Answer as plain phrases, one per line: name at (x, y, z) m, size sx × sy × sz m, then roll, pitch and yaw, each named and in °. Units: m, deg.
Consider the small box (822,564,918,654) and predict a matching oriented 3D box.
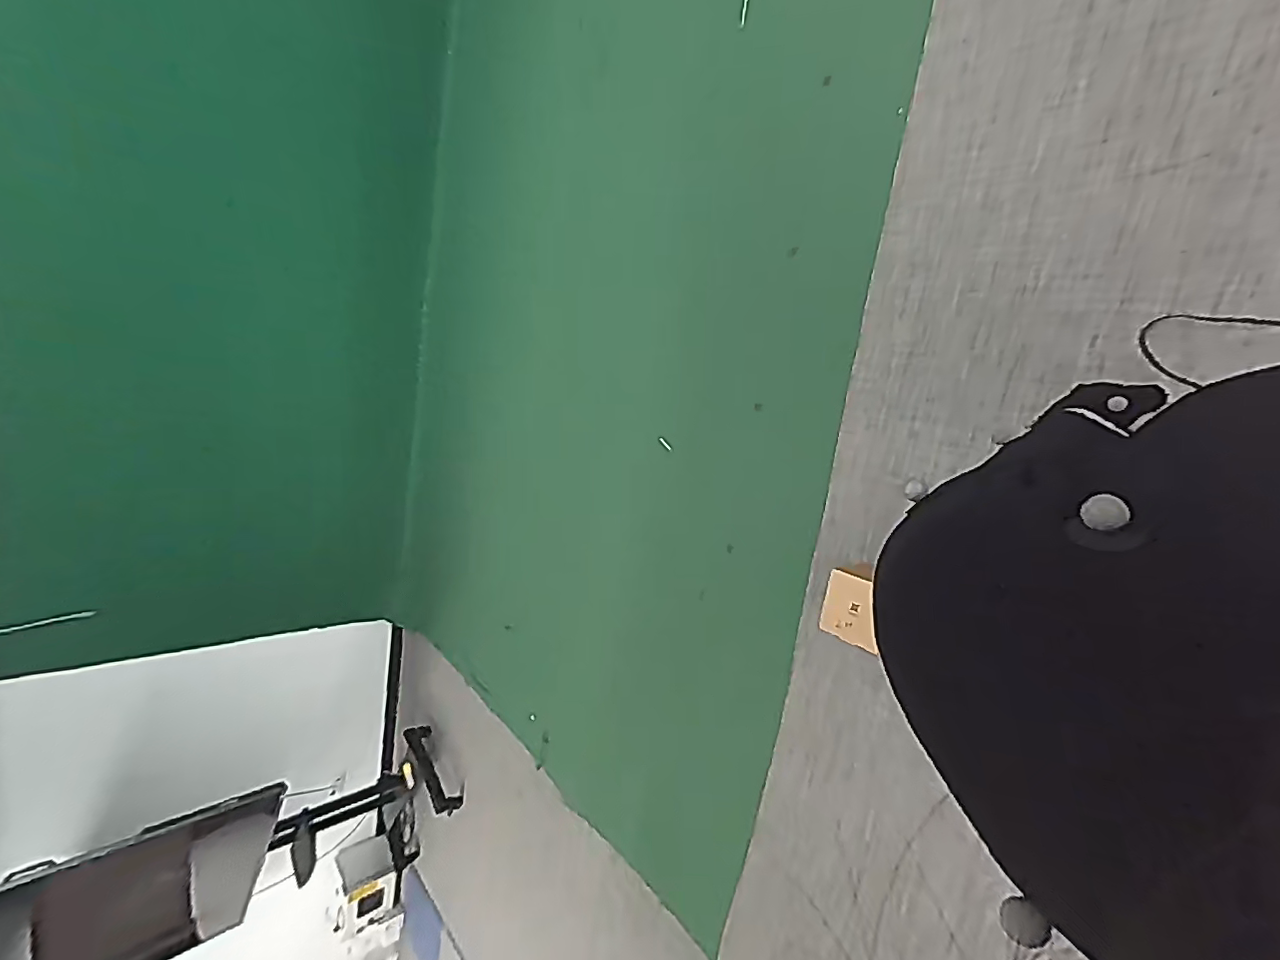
small box at (0.615, 0.332, 1.440) m, size 0.168 × 0.176 × 0.179 m, roll 19°, pitch 103°, yaw 46°
